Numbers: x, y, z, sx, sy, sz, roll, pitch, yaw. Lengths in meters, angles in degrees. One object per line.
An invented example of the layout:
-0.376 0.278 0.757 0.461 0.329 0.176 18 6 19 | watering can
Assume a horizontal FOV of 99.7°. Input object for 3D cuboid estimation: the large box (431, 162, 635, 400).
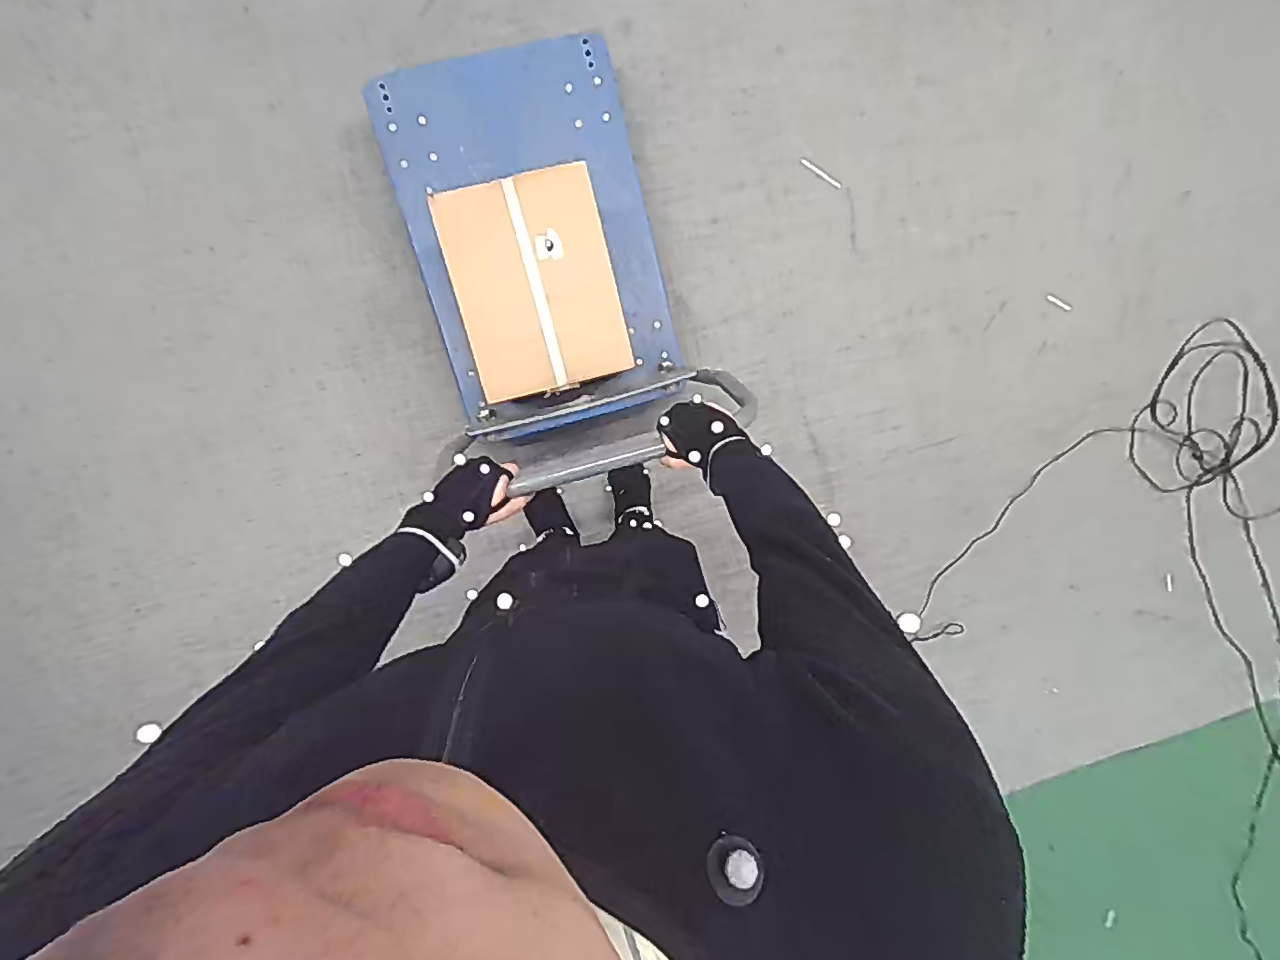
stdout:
-0.219 -0.414 1.221 0.320 0.320 0.408 -15 100 -5 | large box
